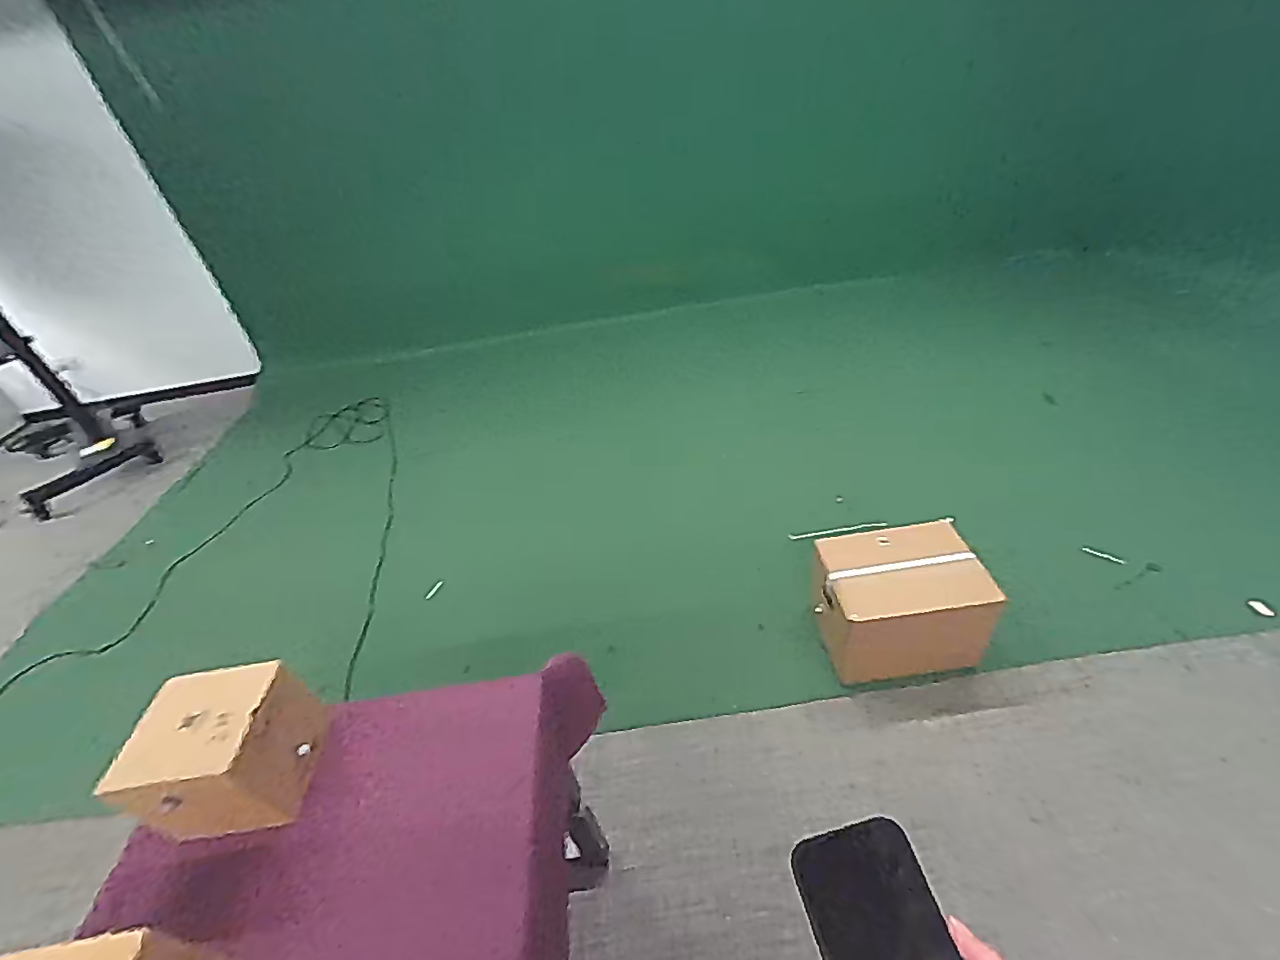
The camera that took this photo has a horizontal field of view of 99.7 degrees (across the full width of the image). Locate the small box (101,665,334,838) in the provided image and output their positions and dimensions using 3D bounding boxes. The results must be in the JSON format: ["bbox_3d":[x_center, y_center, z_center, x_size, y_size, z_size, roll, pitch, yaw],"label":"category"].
[{"bbox_3d":[-0.601,0.403,0.799,0.179,0.176,0.168,-9,39,1],"label":"small box"}]

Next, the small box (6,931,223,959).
[{"bbox_3d":[-0.571,0.599,0.551,0.179,0.176,0.168,-11,38,-1],"label":"small box"}]
